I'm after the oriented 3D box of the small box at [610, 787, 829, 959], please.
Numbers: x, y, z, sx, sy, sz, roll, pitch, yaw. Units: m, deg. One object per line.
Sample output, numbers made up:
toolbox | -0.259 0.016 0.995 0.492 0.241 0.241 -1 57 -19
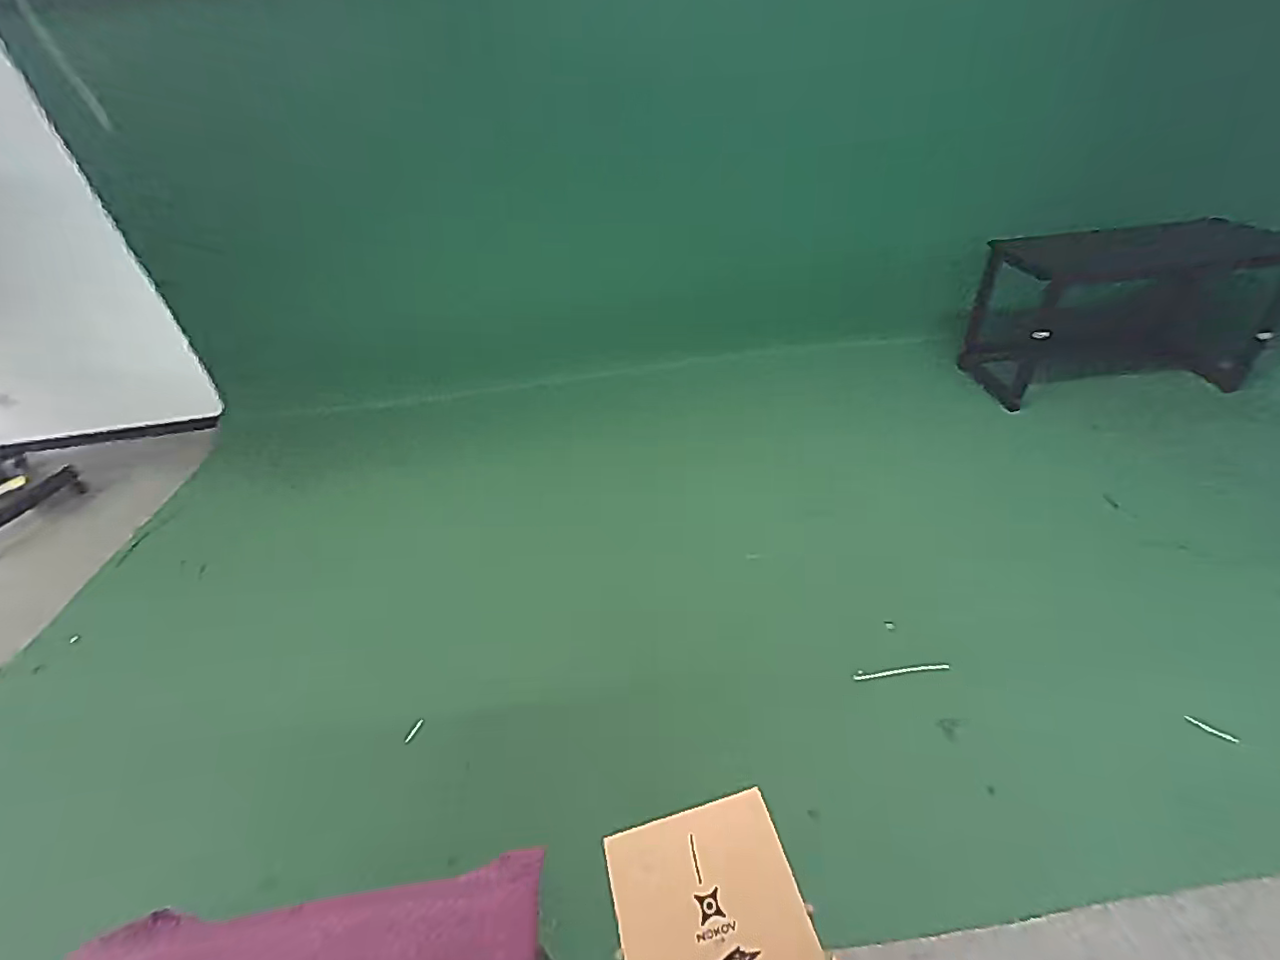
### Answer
small box | 0.077 0.439 0.525 0.168 0.176 0.179 -14 41 -5
